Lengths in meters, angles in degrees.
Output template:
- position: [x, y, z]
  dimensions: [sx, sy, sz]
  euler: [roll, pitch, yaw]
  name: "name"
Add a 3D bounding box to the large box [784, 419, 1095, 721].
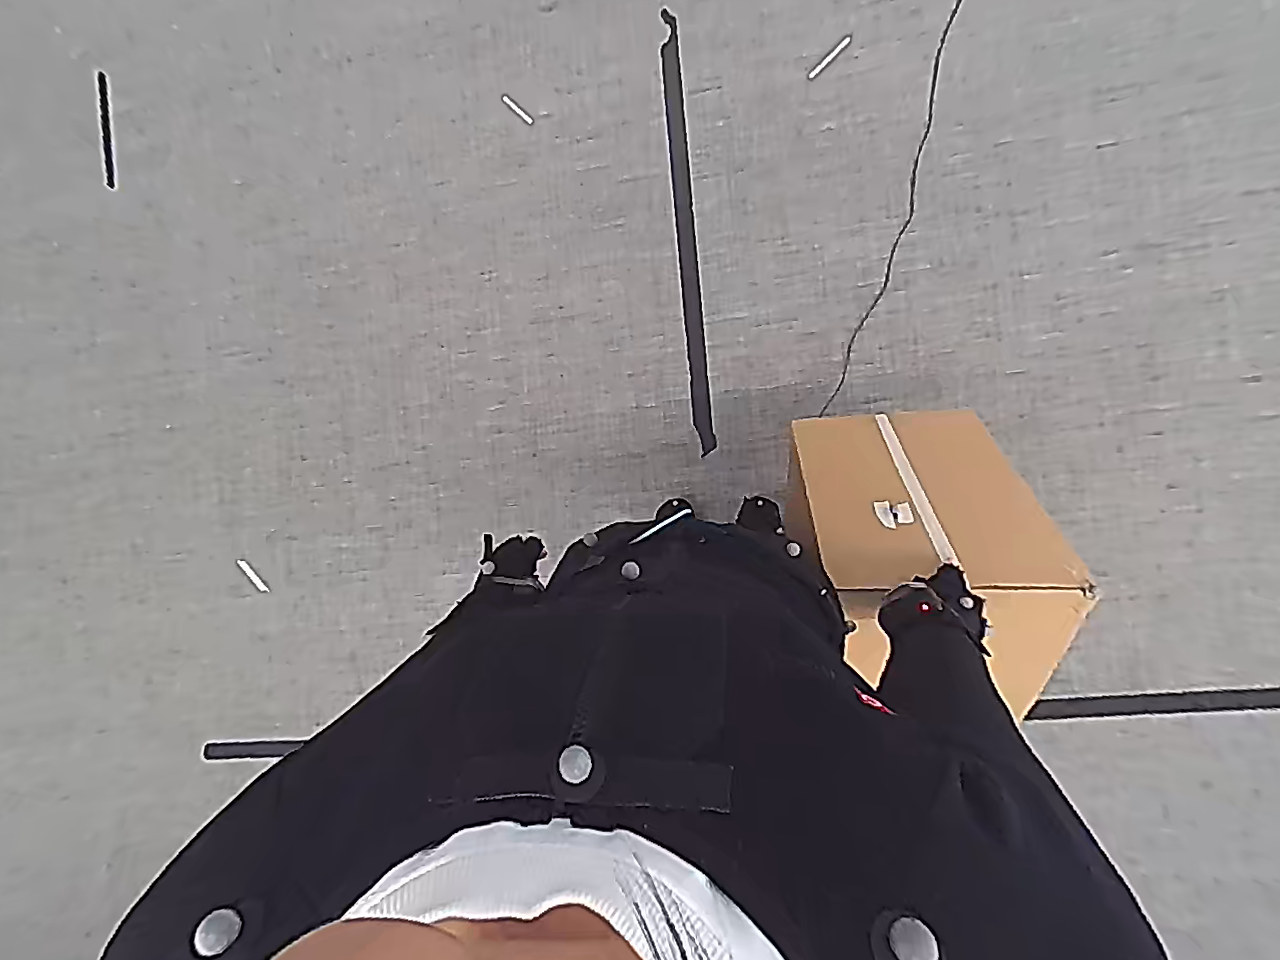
- position: [0.431, 0.136, 0.914]
  dimensions: [0.320, 0.408, 0.320]
  euler: [-3, 129, 9]
  name: "large box"
